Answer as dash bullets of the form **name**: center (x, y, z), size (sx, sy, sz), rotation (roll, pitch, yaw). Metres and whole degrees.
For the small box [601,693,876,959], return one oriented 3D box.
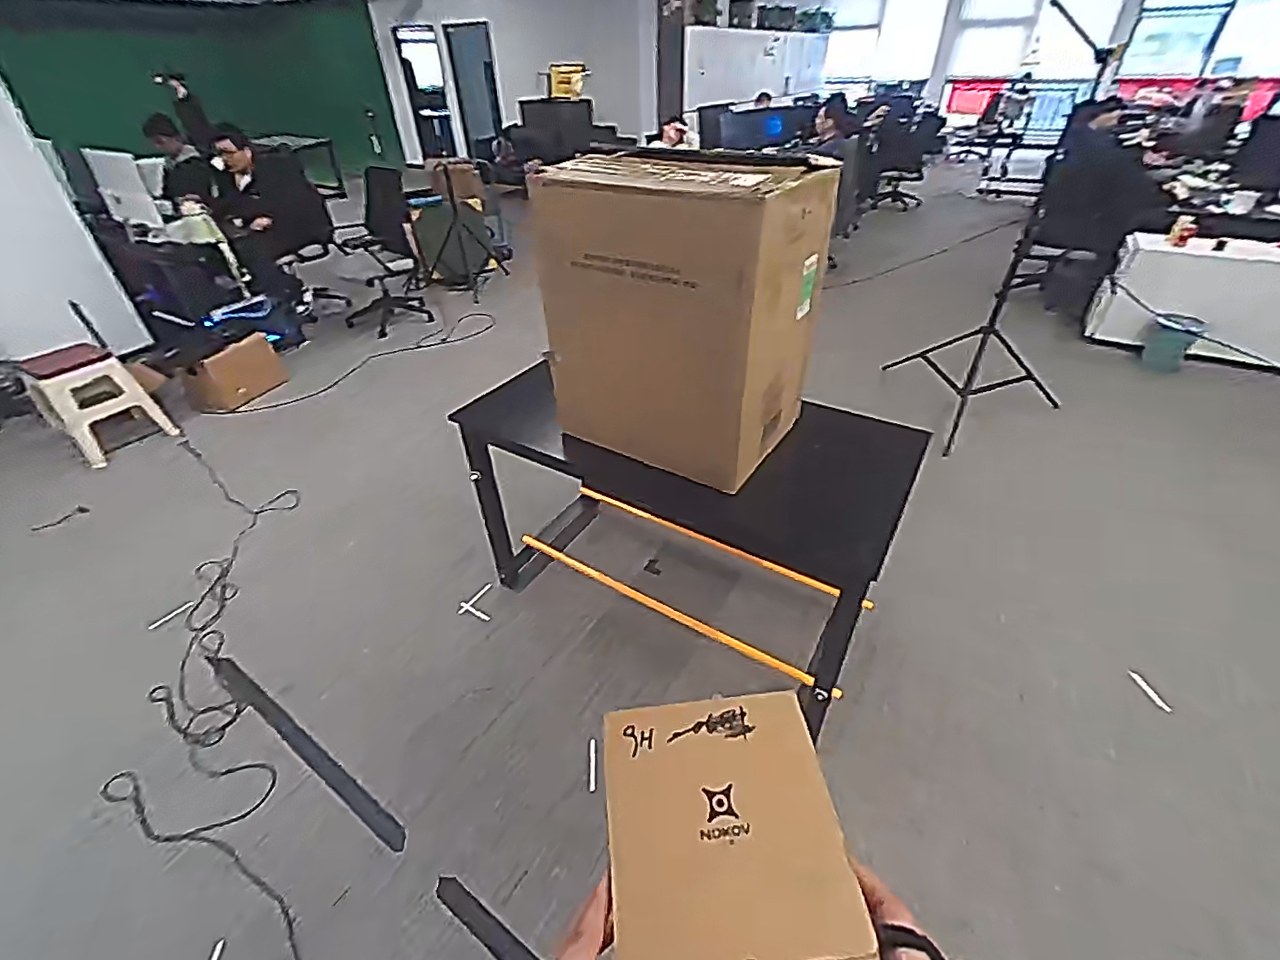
- **small box**: center (0.061, 0.302, 0.441), size (0.168, 0.176, 0.179), rotation (-6, 44, -3)
